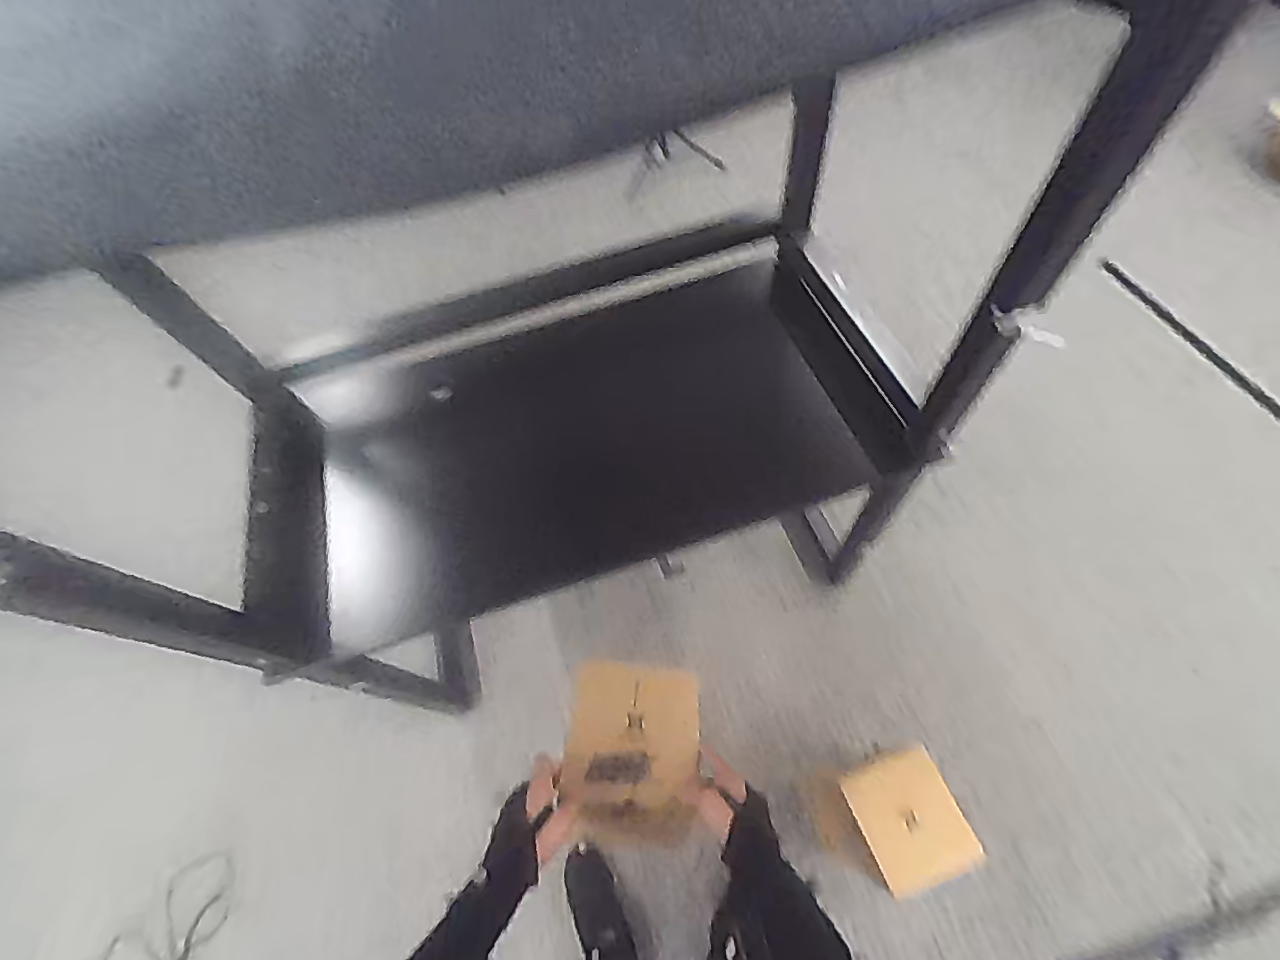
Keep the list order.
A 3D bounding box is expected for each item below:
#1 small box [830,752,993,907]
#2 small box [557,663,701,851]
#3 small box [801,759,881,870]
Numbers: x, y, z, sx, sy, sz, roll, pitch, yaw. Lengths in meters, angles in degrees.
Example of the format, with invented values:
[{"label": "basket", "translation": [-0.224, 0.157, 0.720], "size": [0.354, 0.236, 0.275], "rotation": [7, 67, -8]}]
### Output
[{"label": "small box", "translation": [0.459, 0.599, 0.949], "size": [0.168, 0.176, 0.179], "rotation": [-21, 60, -4]}, {"label": "small box", "translation": [-0.012, 0.369, 0.718], "size": [0.168, 0.176, 0.179], "rotation": [5, 42, -1]}, {"label": "small box", "translation": [0.491, 0.755, 1.235], "size": [0.179, 0.176, 0.168], "rotation": [-20, 60, -3]}]
